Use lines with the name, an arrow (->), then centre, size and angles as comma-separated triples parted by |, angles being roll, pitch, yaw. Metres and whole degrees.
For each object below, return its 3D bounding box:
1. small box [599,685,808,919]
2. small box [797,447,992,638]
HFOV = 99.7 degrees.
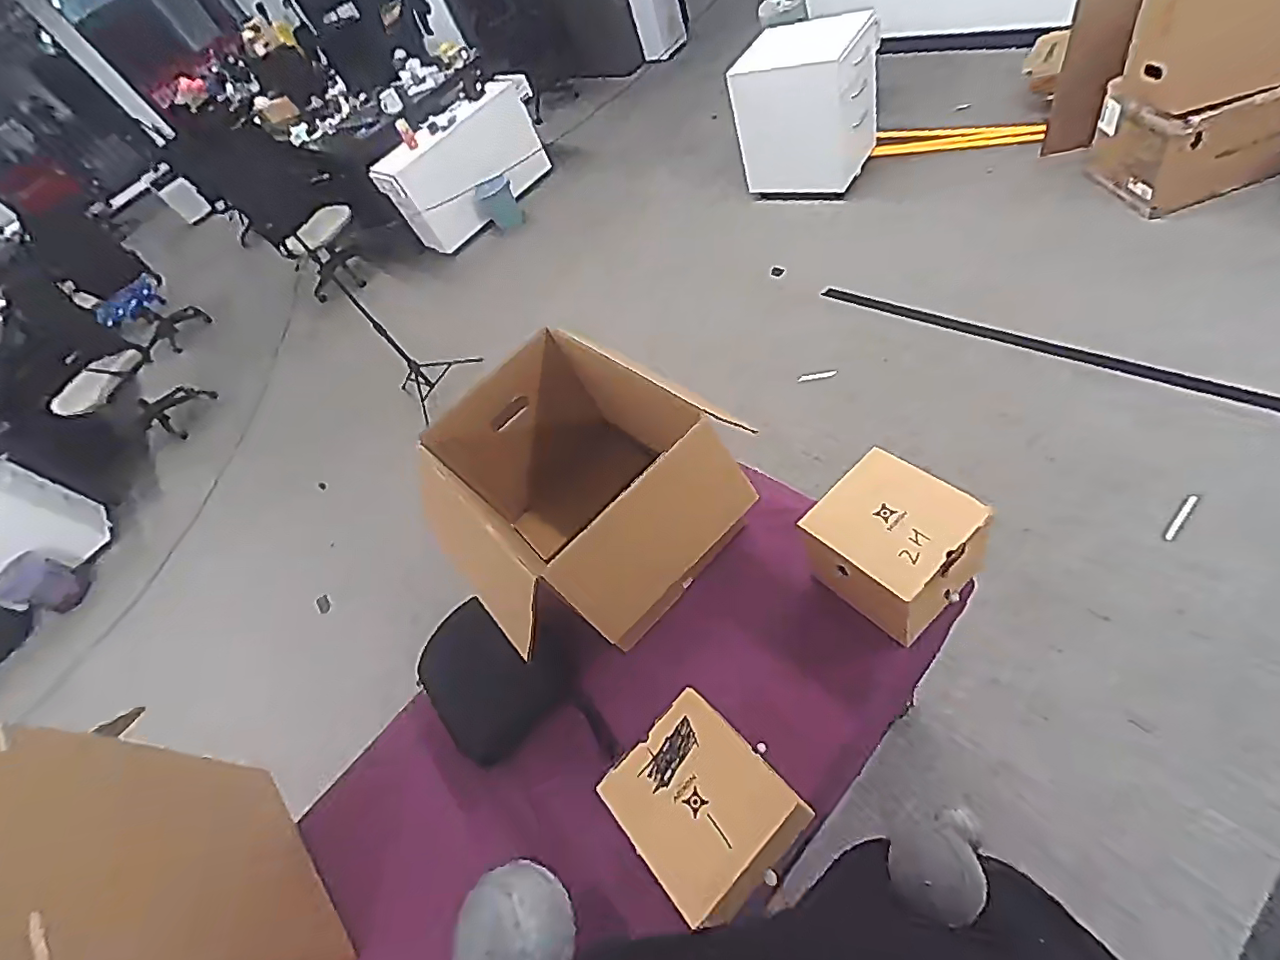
small box -> 0.085, 0.395, 0.672 | 0.168, 0.176, 0.179 | -44, 51, -9
small box -> 0.352, 0.092, 0.766 | 0.168, 0.176, 0.179 | -42, 50, -8
